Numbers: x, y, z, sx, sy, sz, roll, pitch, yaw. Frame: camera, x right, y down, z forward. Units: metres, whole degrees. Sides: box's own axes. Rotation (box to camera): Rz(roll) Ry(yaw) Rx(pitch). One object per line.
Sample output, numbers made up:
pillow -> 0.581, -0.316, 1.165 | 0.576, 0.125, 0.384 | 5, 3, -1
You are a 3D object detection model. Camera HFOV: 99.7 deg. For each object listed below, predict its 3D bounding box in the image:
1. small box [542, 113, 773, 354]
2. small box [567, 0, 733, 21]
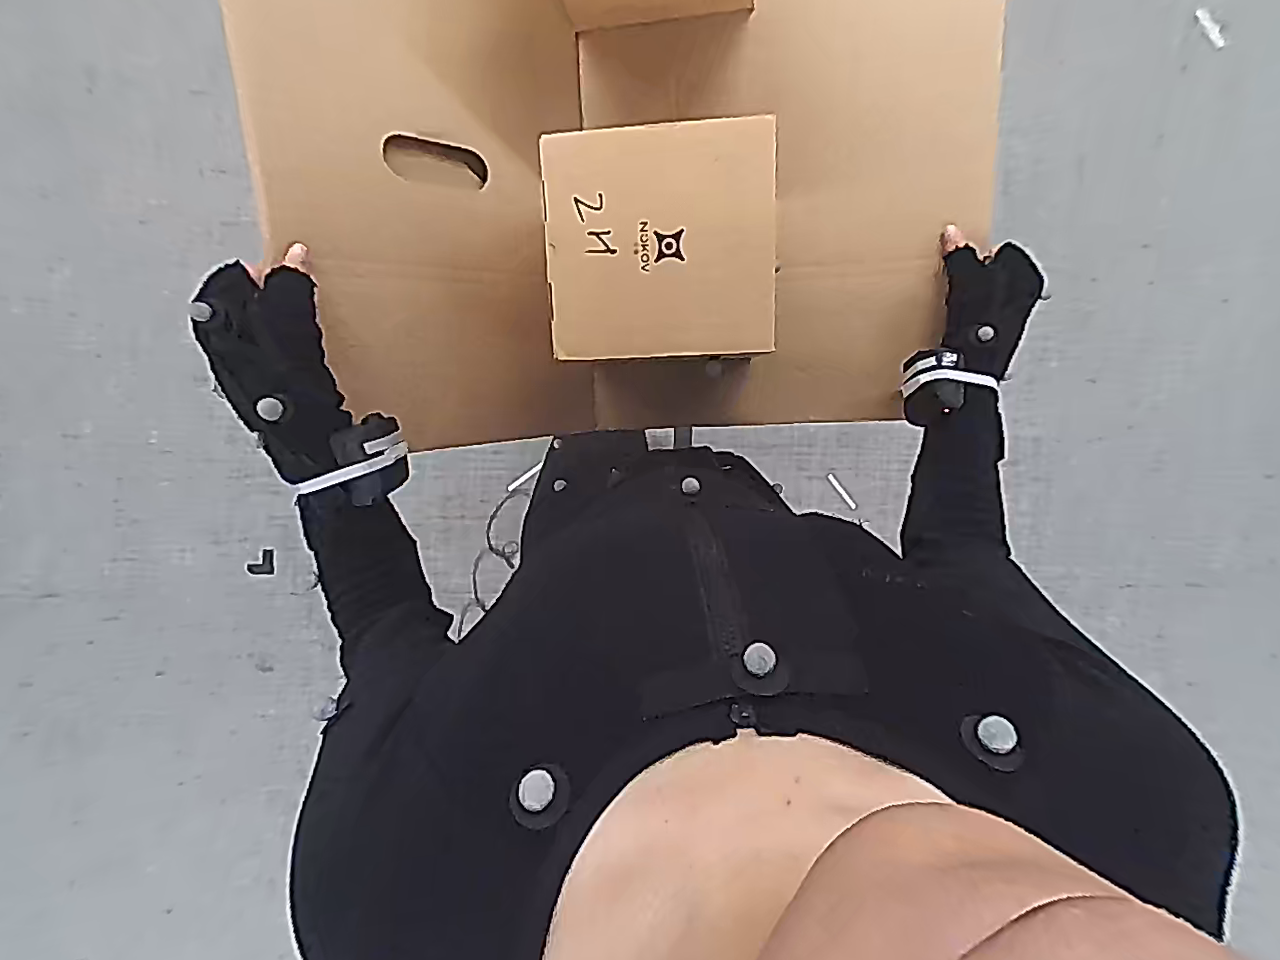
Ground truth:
small box -> 0.021, -0.204, 0.496 | 0.179, 0.176, 0.168 | 0, 101, 7
small box -> 0.005, -0.516, 0.436 | 0.179, 0.176, 0.168 | -2, 101, 6
